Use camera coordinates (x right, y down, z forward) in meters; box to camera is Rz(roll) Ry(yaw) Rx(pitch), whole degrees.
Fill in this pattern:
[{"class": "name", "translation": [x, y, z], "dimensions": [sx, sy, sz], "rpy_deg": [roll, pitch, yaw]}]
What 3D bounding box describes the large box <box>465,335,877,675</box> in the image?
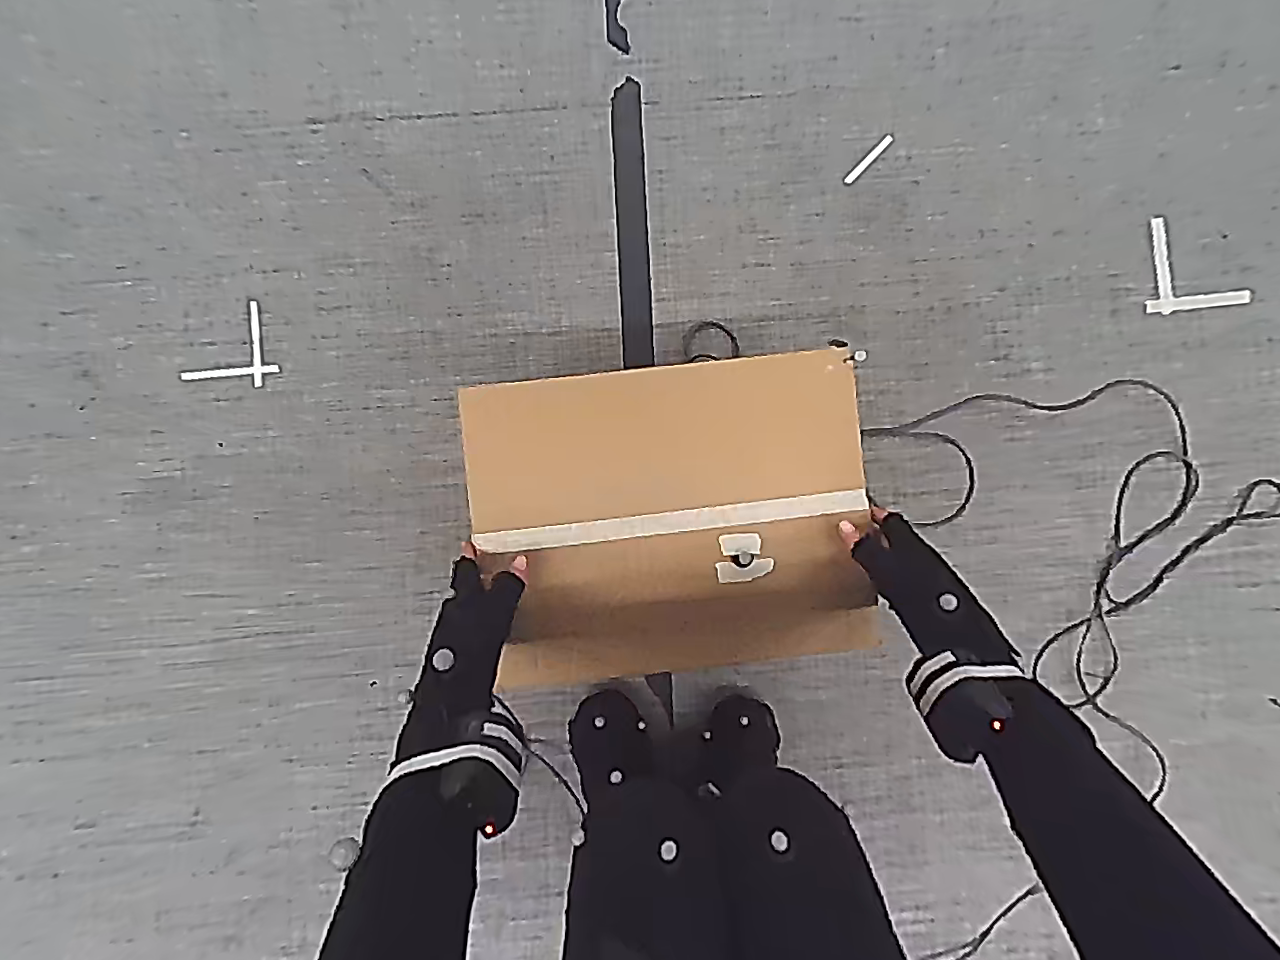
[{"class": "large box", "translation": [0.029, 0.023, 0.706], "dimensions": [0.408, 0.320, 0.320], "rpy_deg": [-7, 92, -2]}]
